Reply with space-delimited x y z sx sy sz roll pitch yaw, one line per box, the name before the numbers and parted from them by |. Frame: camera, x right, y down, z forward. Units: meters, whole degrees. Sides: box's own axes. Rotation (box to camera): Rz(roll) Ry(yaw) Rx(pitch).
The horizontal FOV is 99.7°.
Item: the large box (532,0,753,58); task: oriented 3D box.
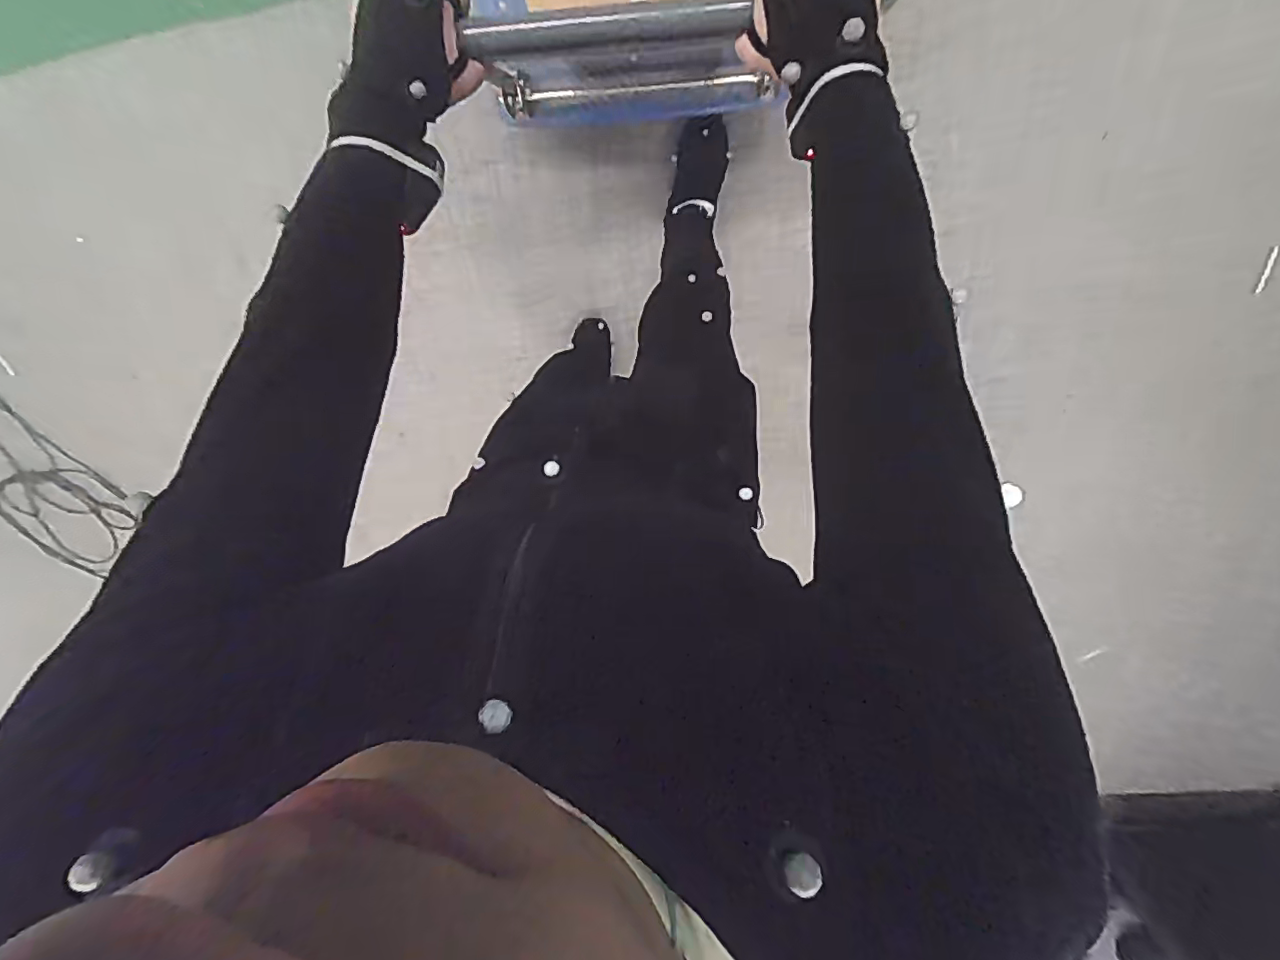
large box | 0.002 -0.893 0.778 0.320 0.320 0.408 -1 121 4
